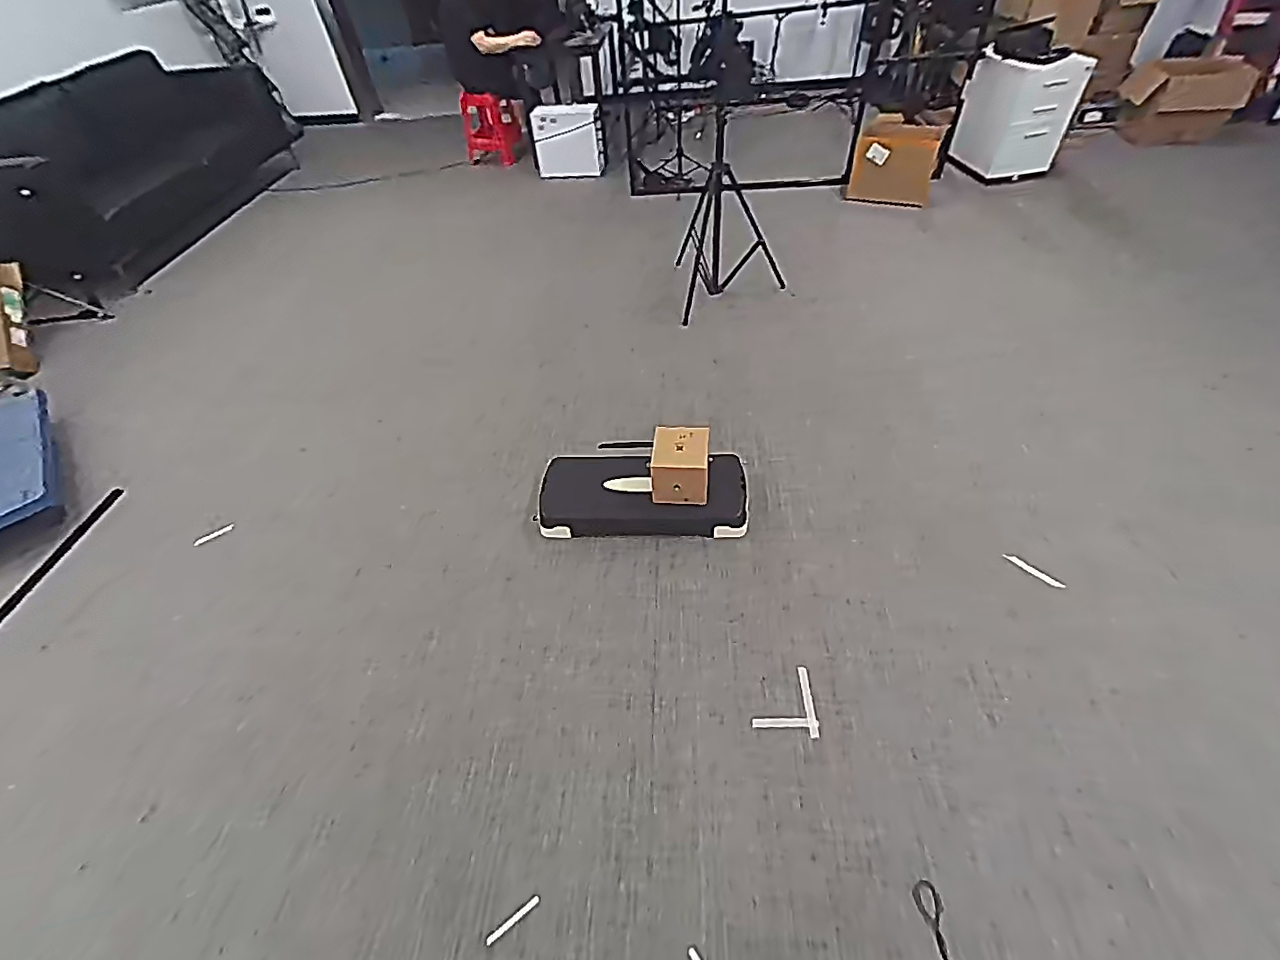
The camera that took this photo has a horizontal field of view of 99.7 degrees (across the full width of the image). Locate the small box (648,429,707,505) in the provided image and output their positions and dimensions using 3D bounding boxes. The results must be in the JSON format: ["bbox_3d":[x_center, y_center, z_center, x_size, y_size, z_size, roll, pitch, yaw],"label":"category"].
[{"bbox_3d":[0.121,-0.039,1.674,0.168,0.176,0.179,2,47,7],"label":"small box"}]
